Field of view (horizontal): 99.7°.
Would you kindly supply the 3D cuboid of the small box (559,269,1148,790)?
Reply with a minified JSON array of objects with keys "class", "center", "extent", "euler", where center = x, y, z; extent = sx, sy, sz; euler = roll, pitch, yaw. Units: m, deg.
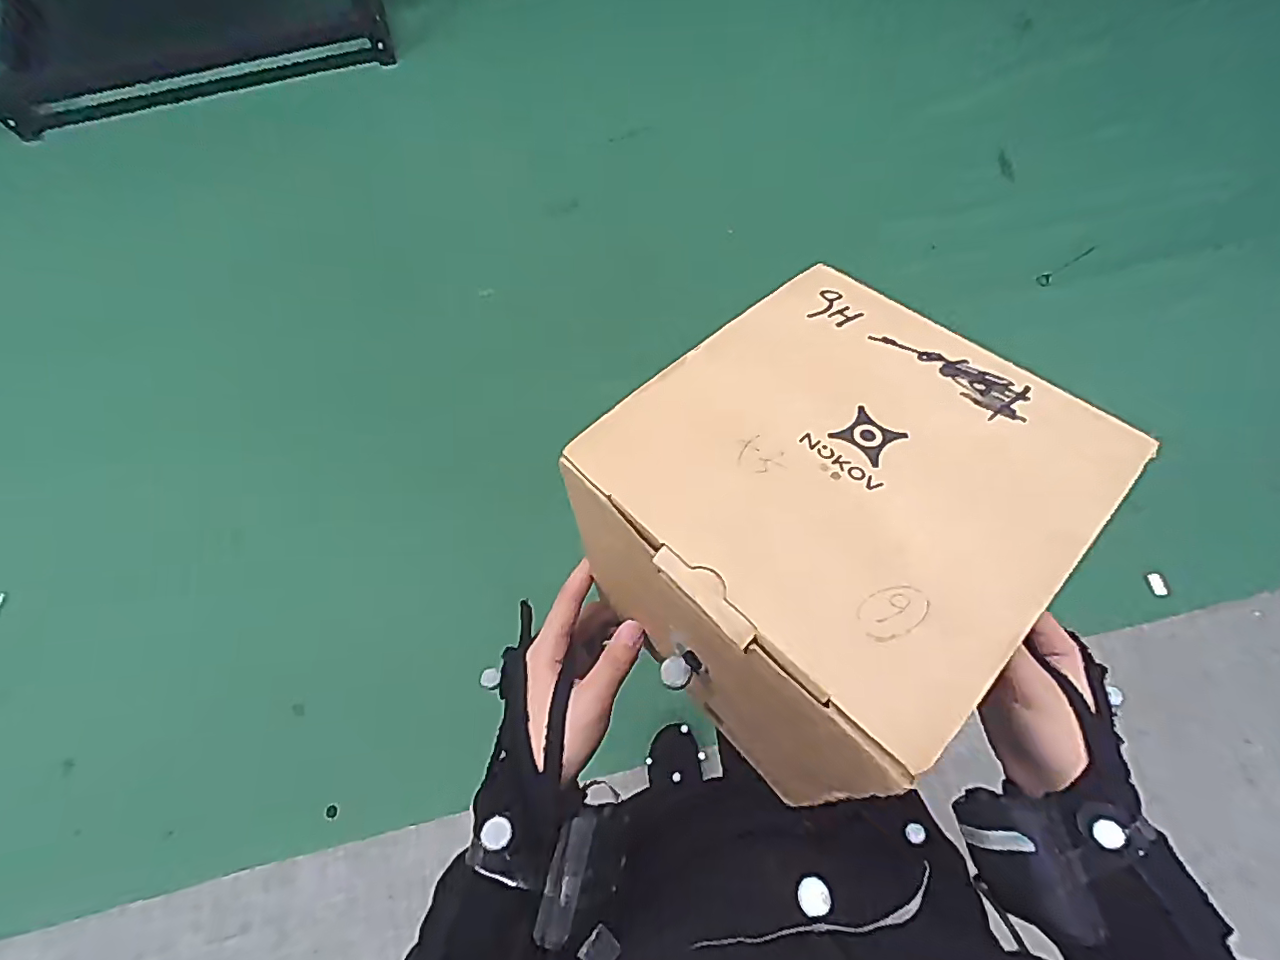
[{"class":"small box","center":[0.087,0.033,0.284],"extent":[0.179,0.176,0.168],"euler":[-39,63,-19]}]
